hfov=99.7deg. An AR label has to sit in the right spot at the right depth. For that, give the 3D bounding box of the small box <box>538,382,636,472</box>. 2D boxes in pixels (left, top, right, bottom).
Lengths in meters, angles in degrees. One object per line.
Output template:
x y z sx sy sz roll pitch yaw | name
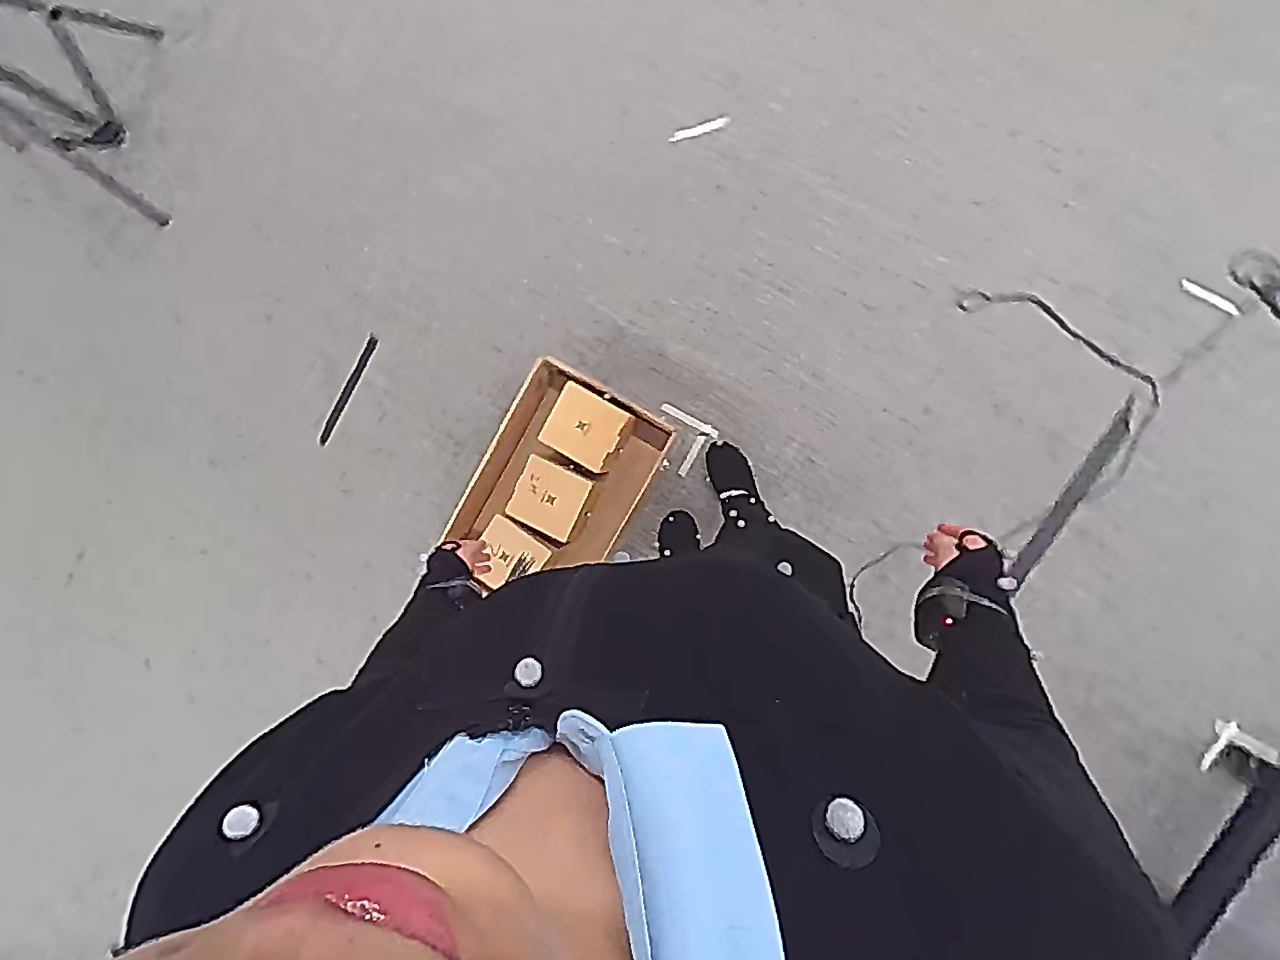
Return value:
-0.130 -0.130 1.390 0.179 0.176 0.168 29 97 5 | small box

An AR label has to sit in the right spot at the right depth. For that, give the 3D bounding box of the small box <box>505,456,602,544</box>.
-0.215 0.046 1.404 0.179 0.176 0.168 26 93 6 | small box
